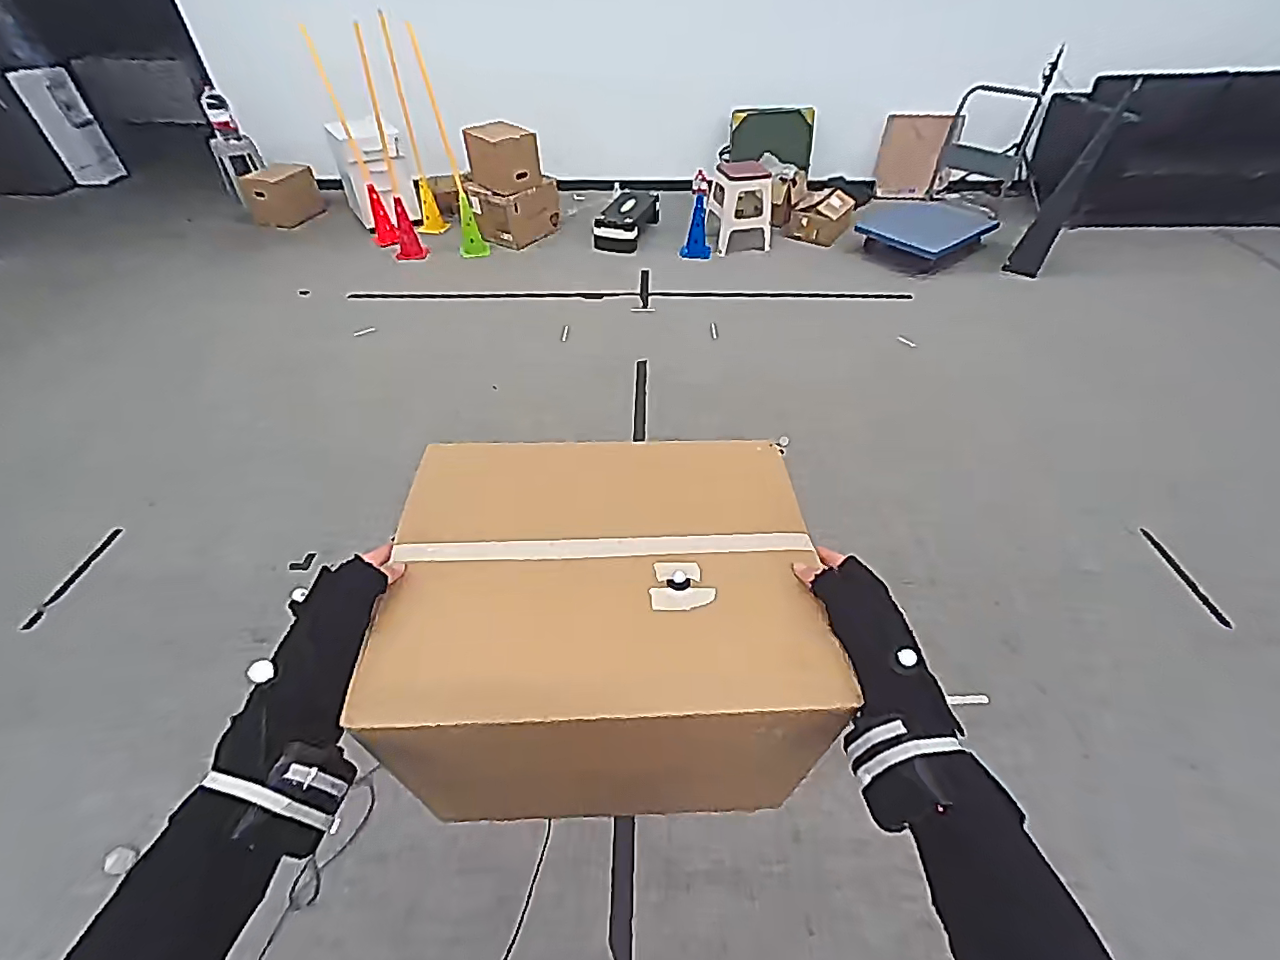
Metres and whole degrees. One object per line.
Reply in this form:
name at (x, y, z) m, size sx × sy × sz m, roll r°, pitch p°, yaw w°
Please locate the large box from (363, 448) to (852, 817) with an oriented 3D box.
large box at (-0.034, 0.177, 0.640) m, size 0.408 × 0.320 × 0.320 m, roll 0°, pitch 46°, yaw -3°
